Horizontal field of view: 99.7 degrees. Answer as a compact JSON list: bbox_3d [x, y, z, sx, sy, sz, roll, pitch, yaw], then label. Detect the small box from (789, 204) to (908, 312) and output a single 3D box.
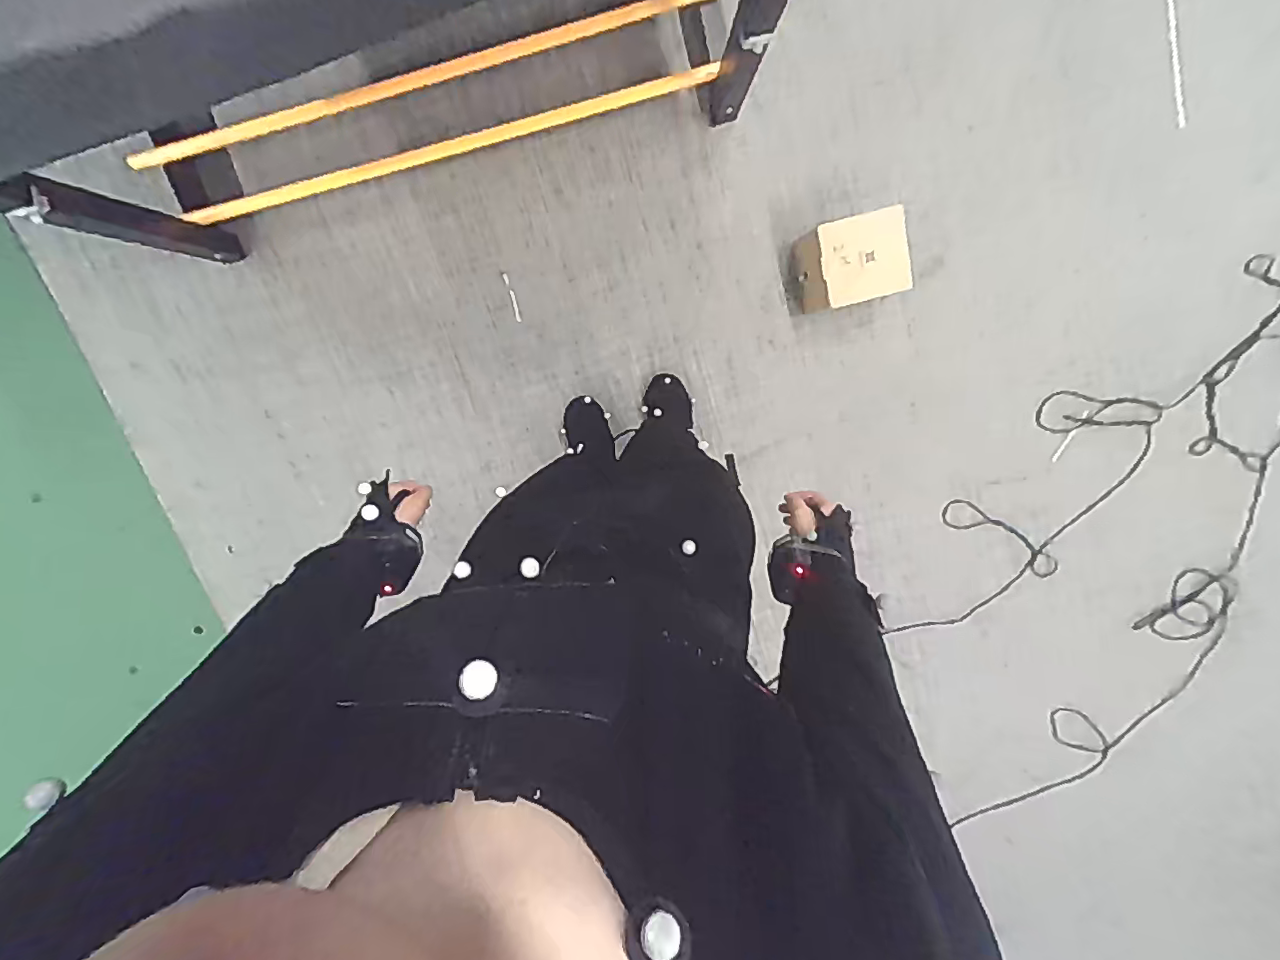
[{"bbox_3d":[0.442,-0.468,1.163,0.179,0.176,0.168,-14,102,2],"label":"small box"}]
